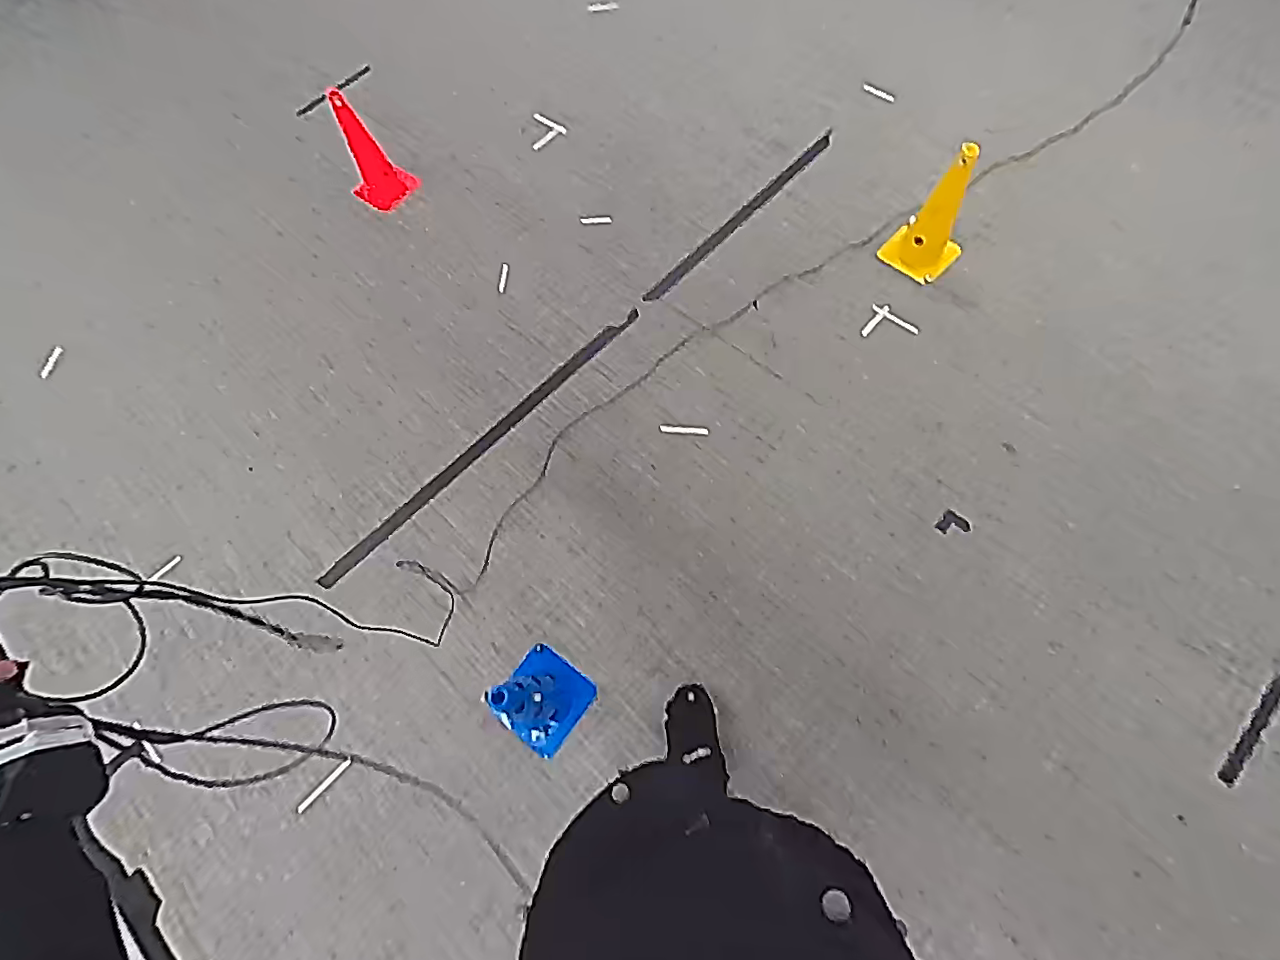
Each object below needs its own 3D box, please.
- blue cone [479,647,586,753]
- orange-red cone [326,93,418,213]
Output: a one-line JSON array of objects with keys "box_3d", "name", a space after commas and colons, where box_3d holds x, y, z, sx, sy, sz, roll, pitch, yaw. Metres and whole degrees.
[{"box_3d": [-0.255, 0.466, 1.157, 0.192, 0.380, 0.193, 35, 74, 18], "name": "blue cone"}, {"box_3d": [-0.992, -1.180, 1.921, 0.198, 0.360, 0.199, 35, 75, 18], "name": "orange-red cone"}]
